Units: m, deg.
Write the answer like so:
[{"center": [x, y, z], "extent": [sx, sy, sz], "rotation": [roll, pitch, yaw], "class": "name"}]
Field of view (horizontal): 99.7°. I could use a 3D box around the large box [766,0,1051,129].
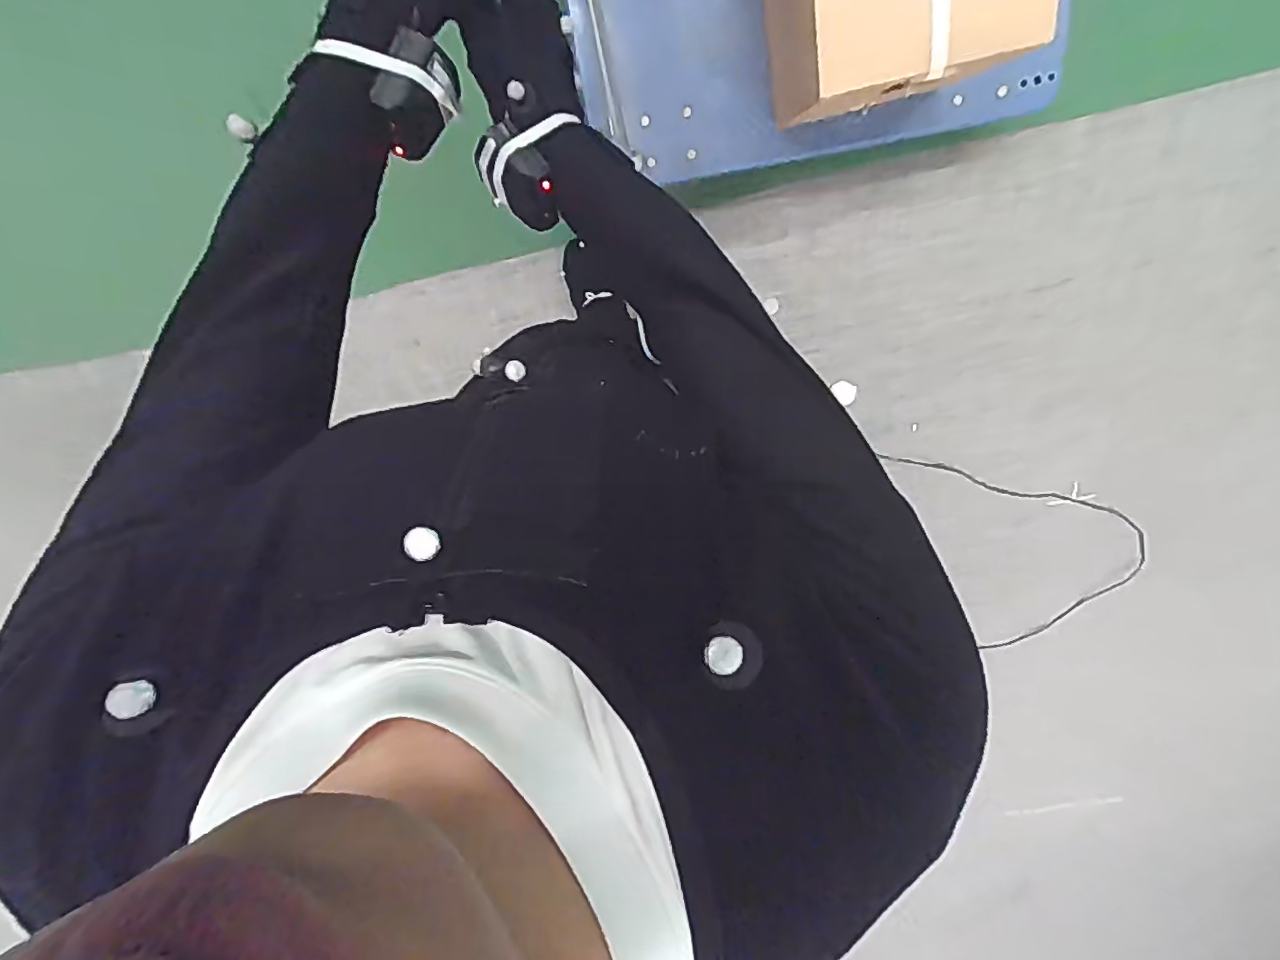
[{"center": [0.362, -0.807, 0.799], "extent": [0.320, 0.320, 0.408], "rotation": [-11, 115, 6], "class": "large box"}]
